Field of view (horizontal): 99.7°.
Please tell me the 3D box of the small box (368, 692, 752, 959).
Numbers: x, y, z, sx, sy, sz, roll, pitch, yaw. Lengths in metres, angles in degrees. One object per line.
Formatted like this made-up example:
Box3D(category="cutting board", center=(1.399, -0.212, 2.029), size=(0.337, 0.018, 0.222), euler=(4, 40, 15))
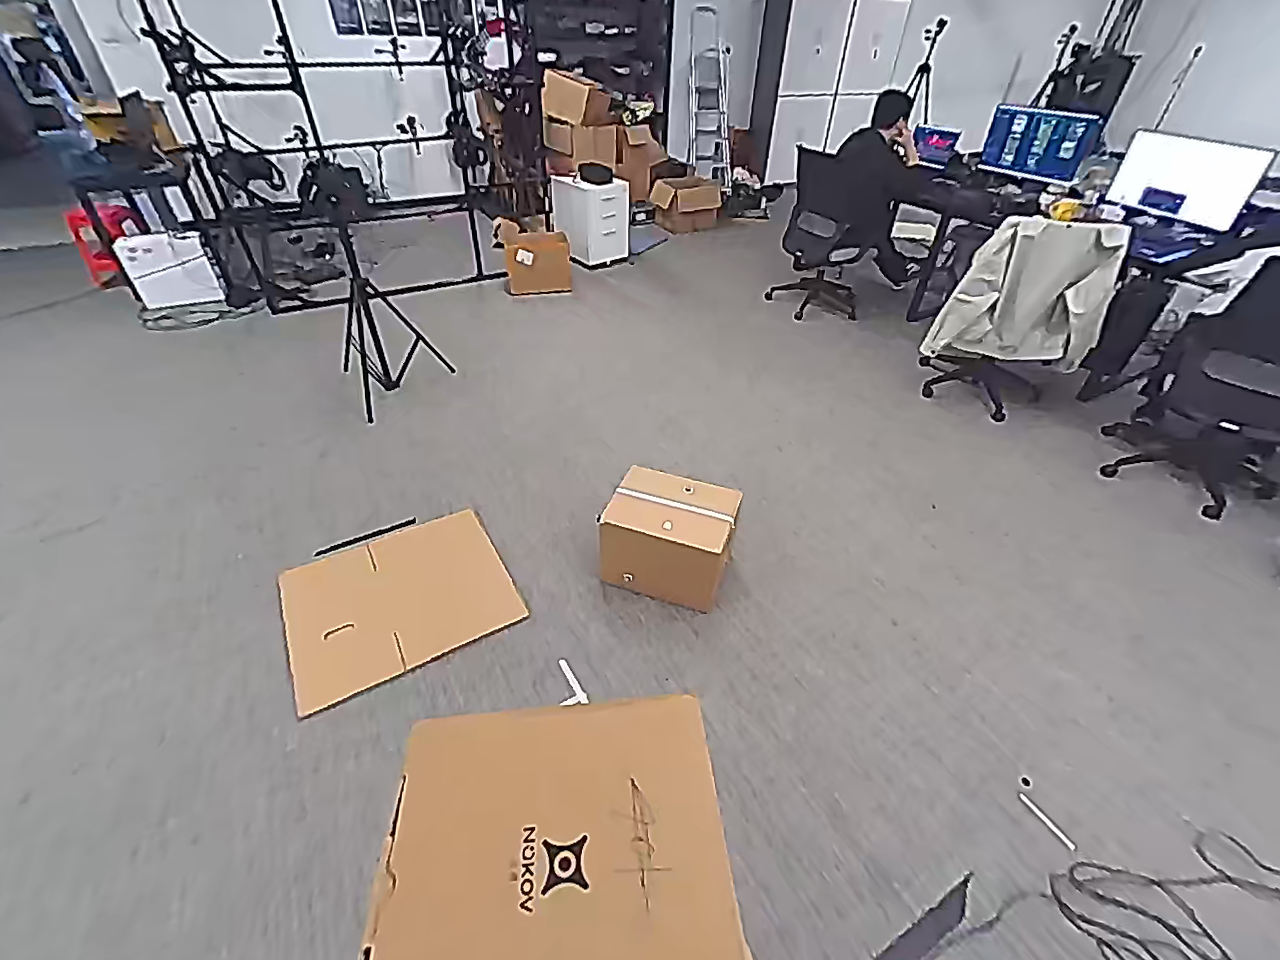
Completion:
Box3D(category="small box", center=(-0.040, 0.252, 0.325), size=(0.179, 0.176, 0.168), euler=(-4, 43, -5))
